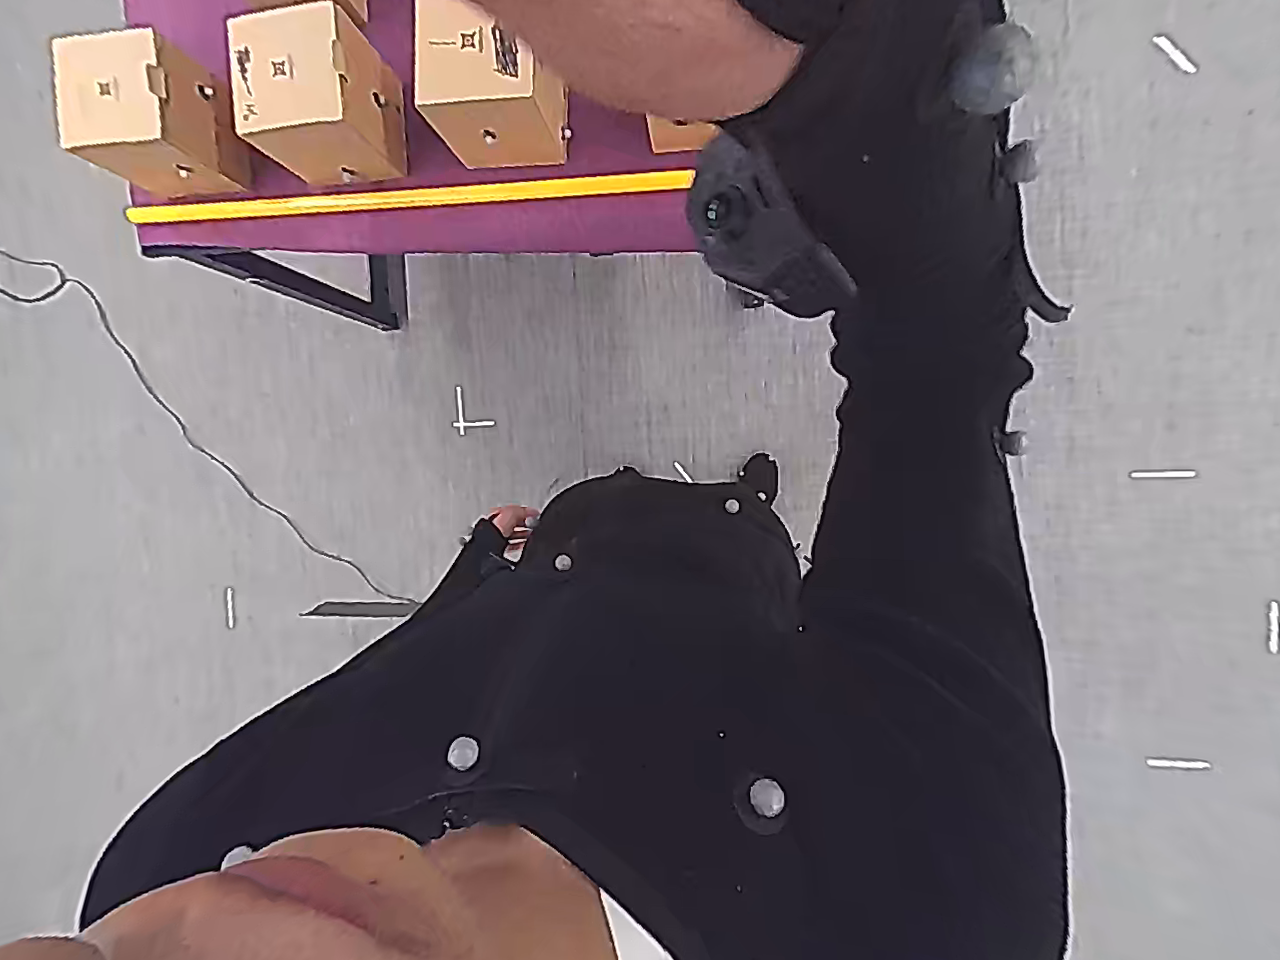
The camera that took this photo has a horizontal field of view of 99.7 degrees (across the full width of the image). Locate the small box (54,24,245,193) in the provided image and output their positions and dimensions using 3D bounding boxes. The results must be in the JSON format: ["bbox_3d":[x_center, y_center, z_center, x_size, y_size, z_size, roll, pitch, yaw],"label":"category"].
[{"bbox_3d":[-0.791,-0.599,0.894,0.179,0.176,0.168,-1,92,5],"label":"small box"}]

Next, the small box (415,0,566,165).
[{"bbox_3d":[-0.215,-0.606,0.818,0.179,0.176,0.168,2,92,9],"label":"small box"}]

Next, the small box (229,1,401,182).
[{"bbox_3d":[-0.498,-0.599,0.857,0.179,0.176,0.168,-2,93,7],"label":"small box"}]
